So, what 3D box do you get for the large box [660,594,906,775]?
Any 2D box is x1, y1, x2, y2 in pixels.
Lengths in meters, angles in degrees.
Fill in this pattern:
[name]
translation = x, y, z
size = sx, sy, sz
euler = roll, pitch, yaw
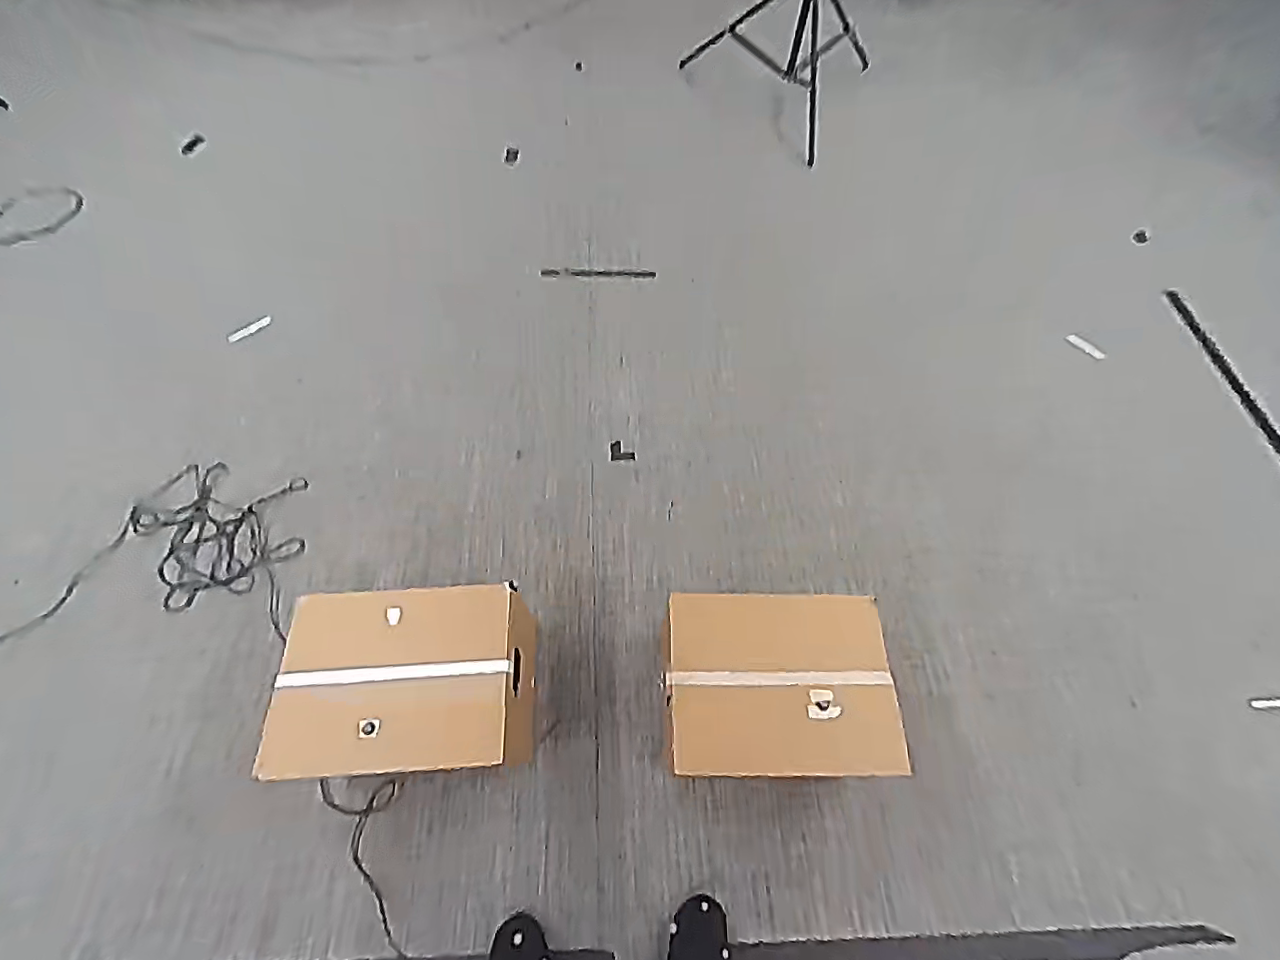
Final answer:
[large box]
translation = 0.255, 0.433, 1.123
size = 0.408, 0.320, 0.320
euler = 1, 62, -2
